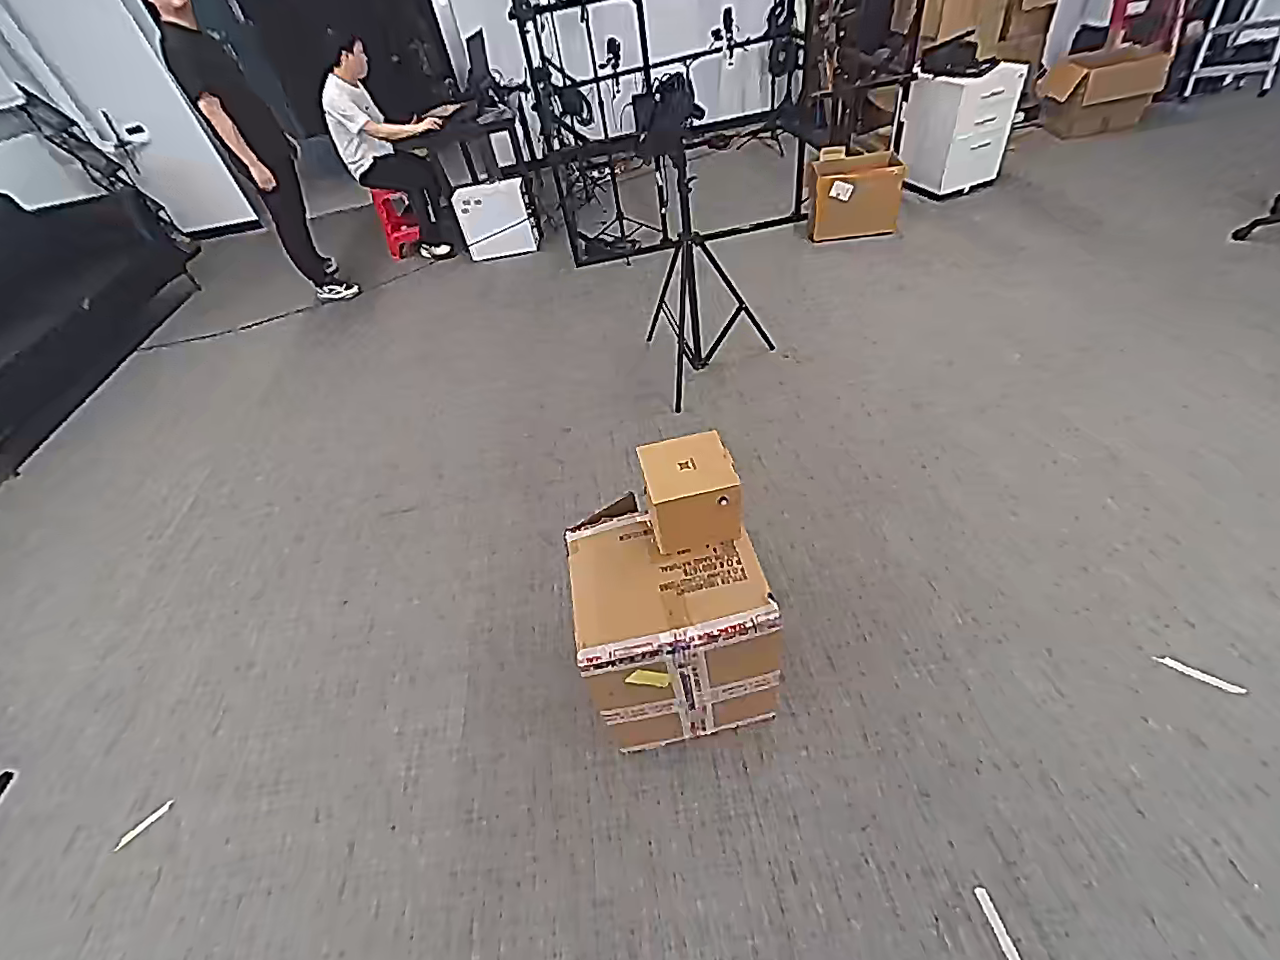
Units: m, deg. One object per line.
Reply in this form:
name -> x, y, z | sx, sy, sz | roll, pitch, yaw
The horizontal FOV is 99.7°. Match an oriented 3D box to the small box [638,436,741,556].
small box -> 0.104, 0.038, 1.128 | 0.179, 0.176, 0.168 | -13, 46, -4
